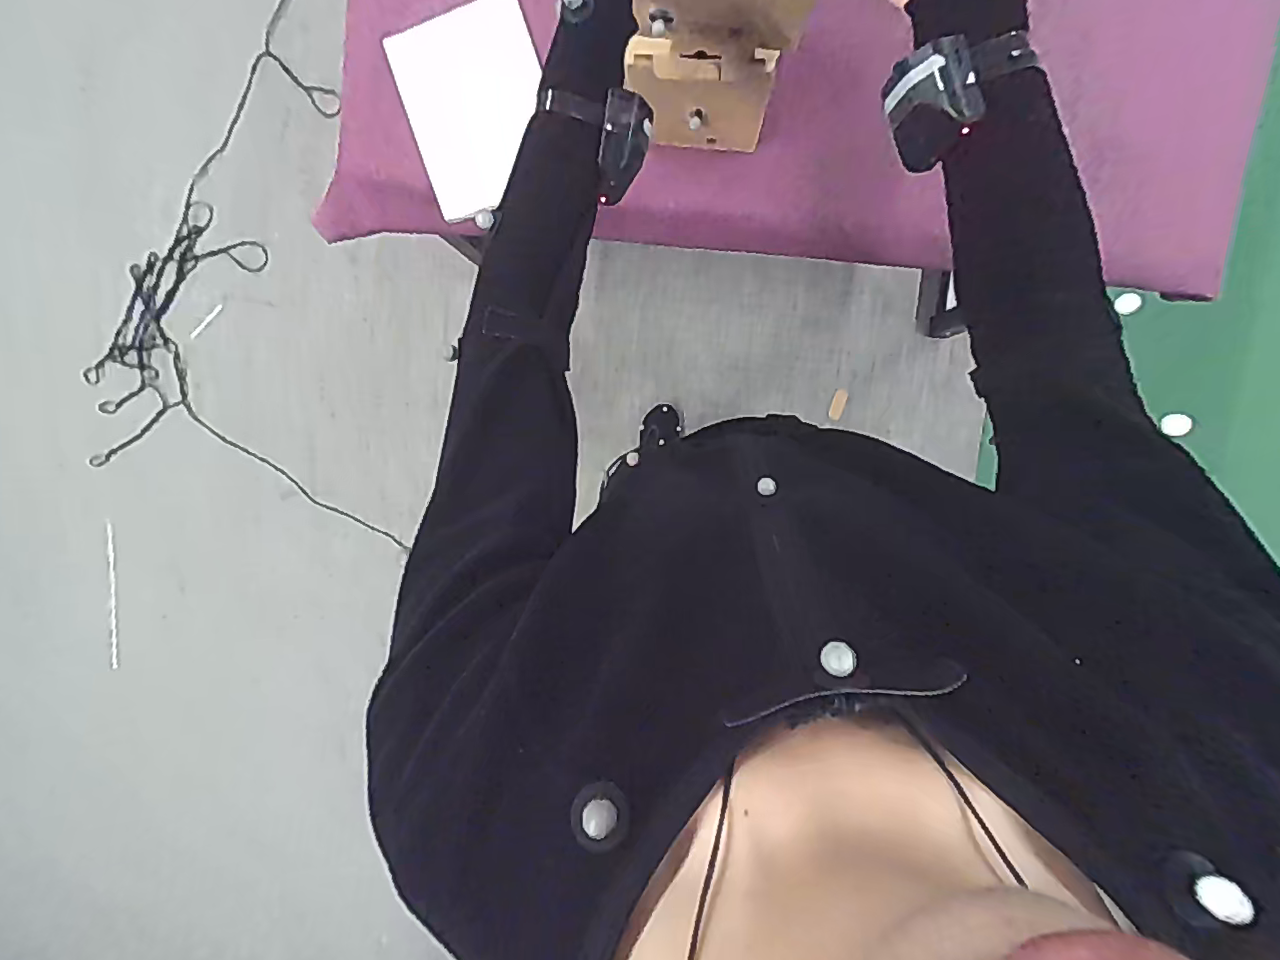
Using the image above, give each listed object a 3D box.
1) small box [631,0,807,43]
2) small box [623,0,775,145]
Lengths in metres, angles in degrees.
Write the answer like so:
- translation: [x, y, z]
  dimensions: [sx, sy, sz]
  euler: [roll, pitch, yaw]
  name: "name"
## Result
- translation: [0.075, -0.502, 0.436]
  dimensions: [0.168, 0.176, 0.179]
  euler: [6, 97, 0]
  name: "small box"
- translation: [0.079, -0.539, 0.656]
  dimensions: [0.168, 0.176, 0.179]
  euler: [7, 96, 3]
  name: "small box"
